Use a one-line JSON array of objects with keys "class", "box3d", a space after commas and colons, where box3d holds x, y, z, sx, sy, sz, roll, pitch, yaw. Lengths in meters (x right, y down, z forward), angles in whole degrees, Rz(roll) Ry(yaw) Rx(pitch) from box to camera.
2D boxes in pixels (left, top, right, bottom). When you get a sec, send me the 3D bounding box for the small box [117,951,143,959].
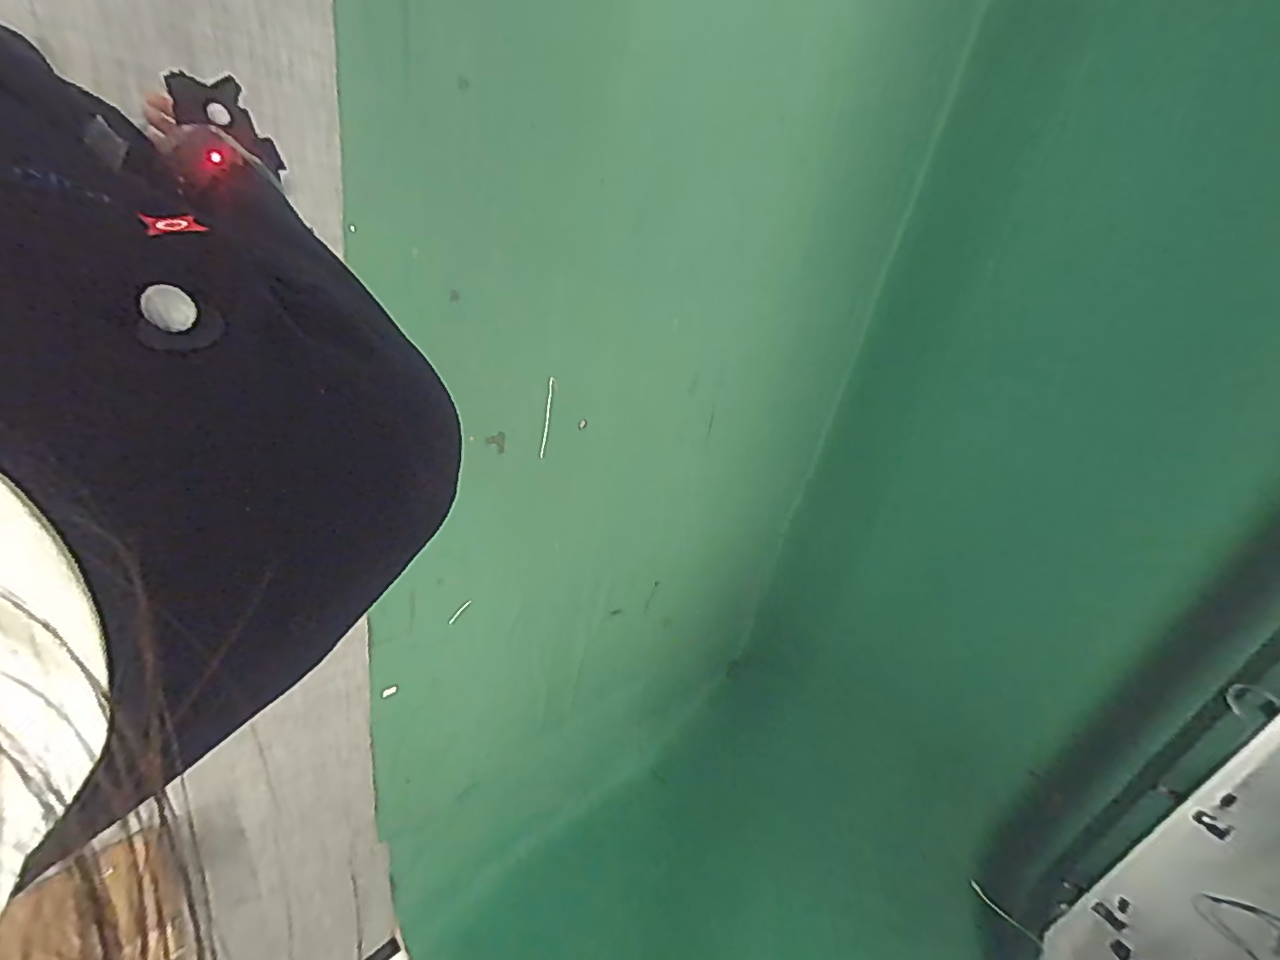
[{"class": "small box", "box3d": [-1.334, 1.345, 1.339, 0.179, 0.176, 0.168, -18, 125, -41]}]
